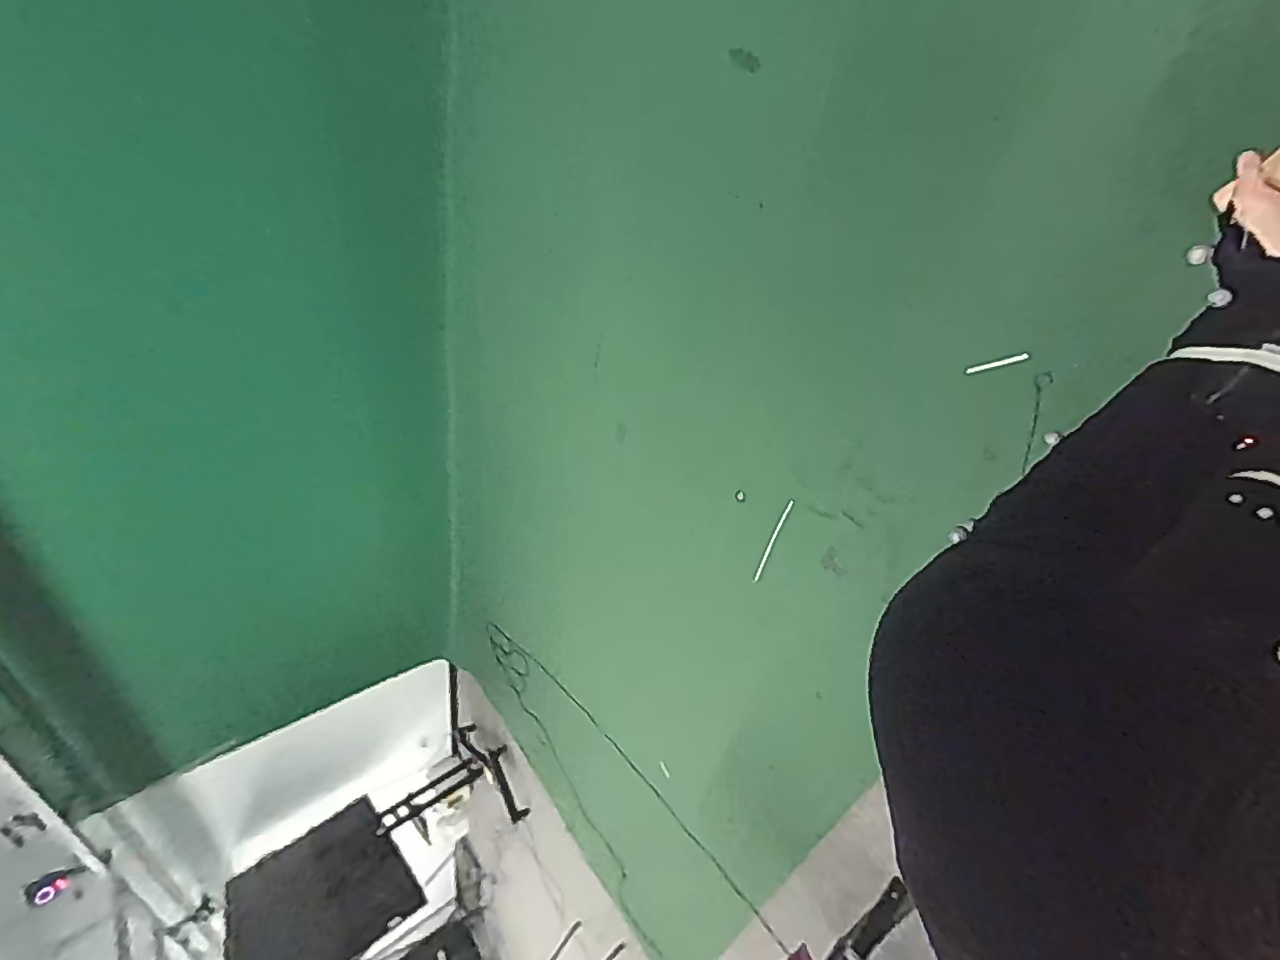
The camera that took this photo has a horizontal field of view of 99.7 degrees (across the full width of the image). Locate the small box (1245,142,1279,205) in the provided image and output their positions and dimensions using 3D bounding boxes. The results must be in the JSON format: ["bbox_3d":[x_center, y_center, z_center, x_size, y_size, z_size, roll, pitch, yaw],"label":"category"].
[{"bbox_3d":[0.525,-0.194,0.306,0.179,0.176,0.168,59,141,23],"label":"small box"}]
